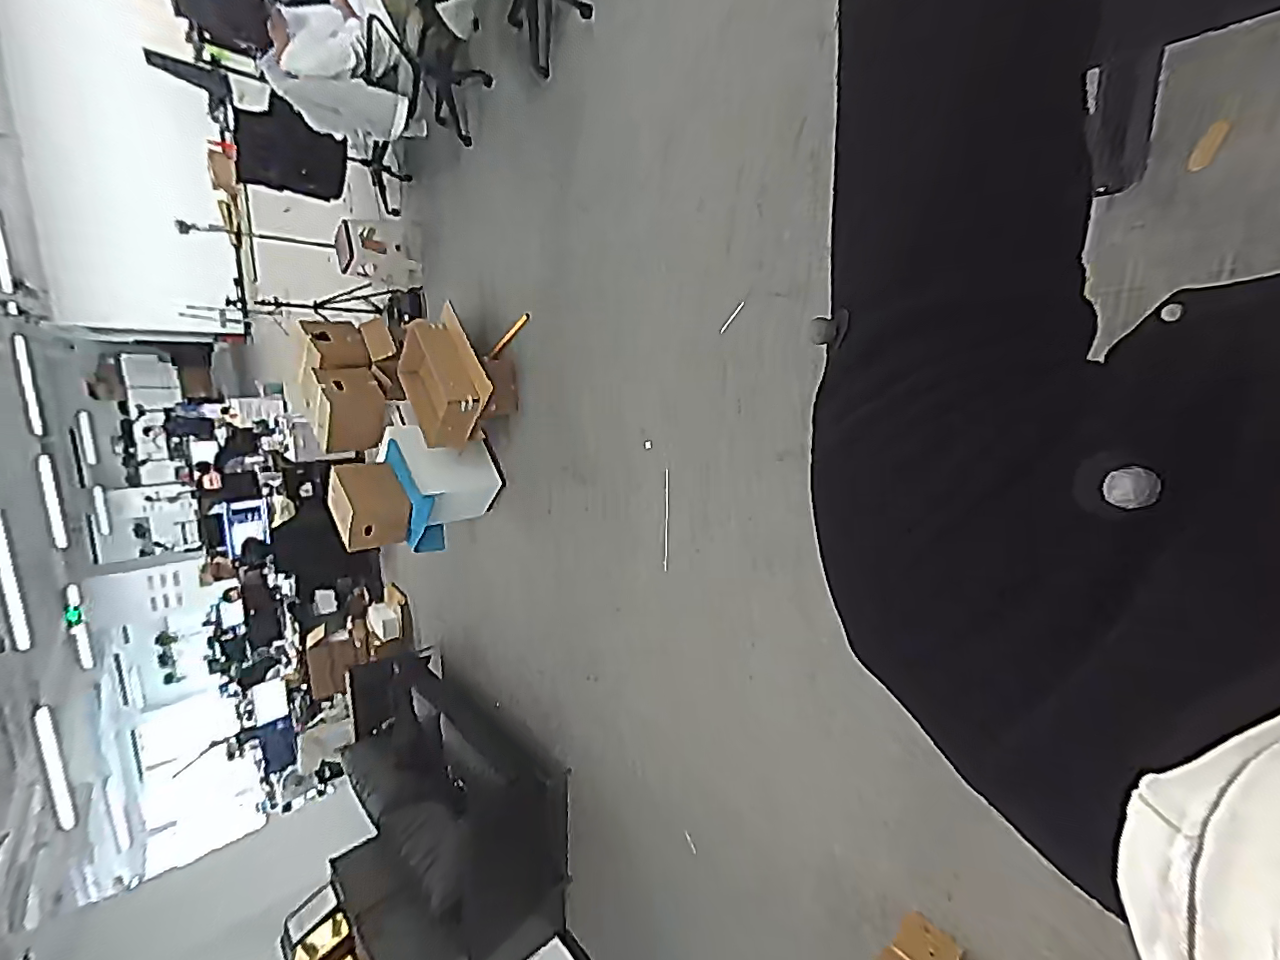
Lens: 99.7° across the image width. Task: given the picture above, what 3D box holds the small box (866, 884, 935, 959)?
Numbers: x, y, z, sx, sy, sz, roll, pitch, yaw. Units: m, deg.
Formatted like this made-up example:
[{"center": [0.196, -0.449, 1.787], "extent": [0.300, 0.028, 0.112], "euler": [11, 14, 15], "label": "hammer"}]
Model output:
[{"center": [0.844, 1.485, 1.765], "extent": [0.168, 0.176, 0.179], "euler": [15, 110, 44], "label": "small box"}]
